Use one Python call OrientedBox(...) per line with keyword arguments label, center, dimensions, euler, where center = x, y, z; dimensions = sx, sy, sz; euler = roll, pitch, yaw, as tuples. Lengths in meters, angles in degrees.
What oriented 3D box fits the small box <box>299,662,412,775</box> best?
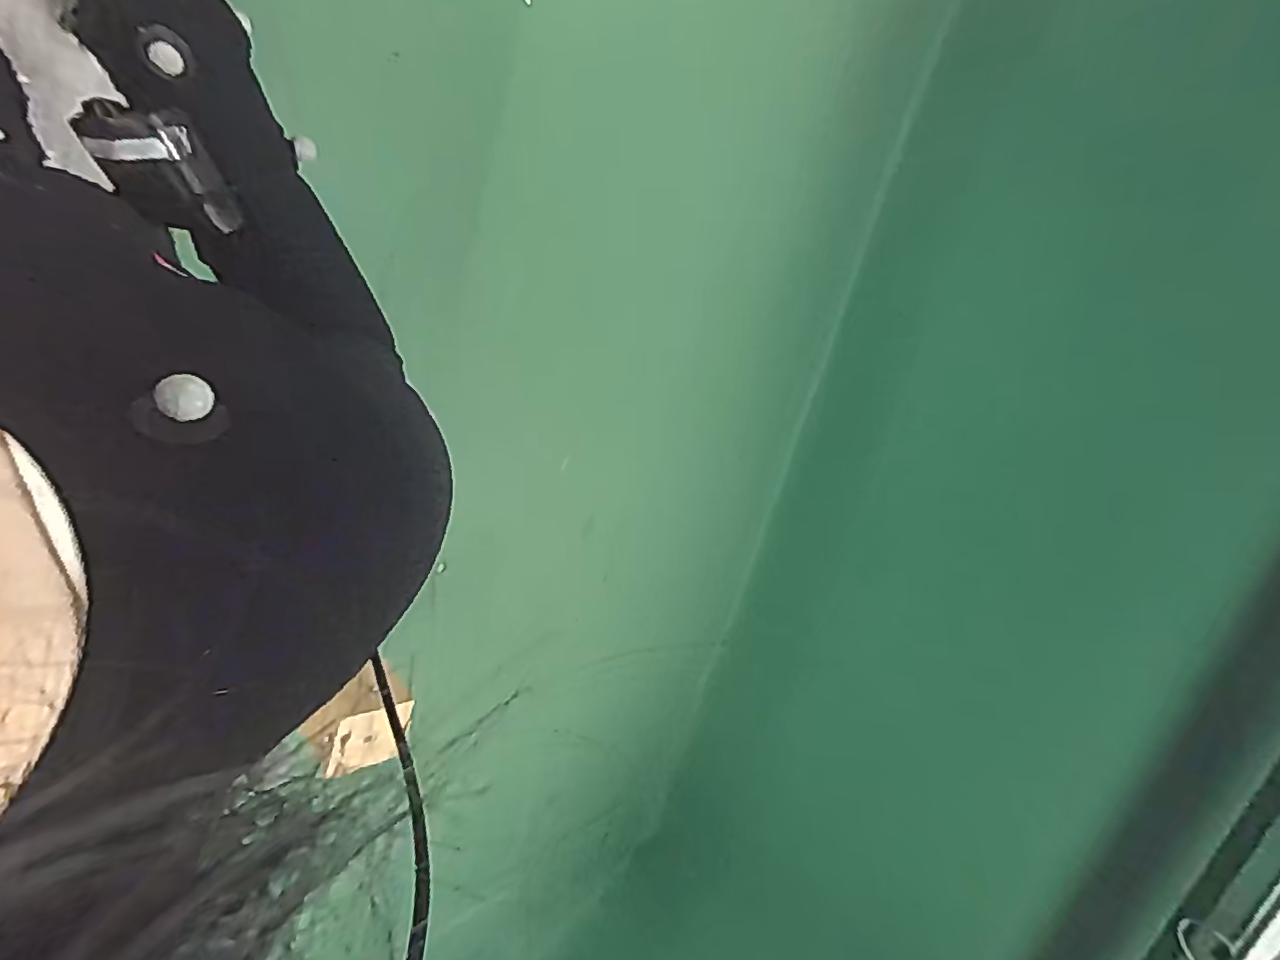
OrientedBox(label="small box", center=(-0.696, 0.569, 1.320), dimensions=(0.179, 0.176, 0.168), euler=(6, 108, -52))
